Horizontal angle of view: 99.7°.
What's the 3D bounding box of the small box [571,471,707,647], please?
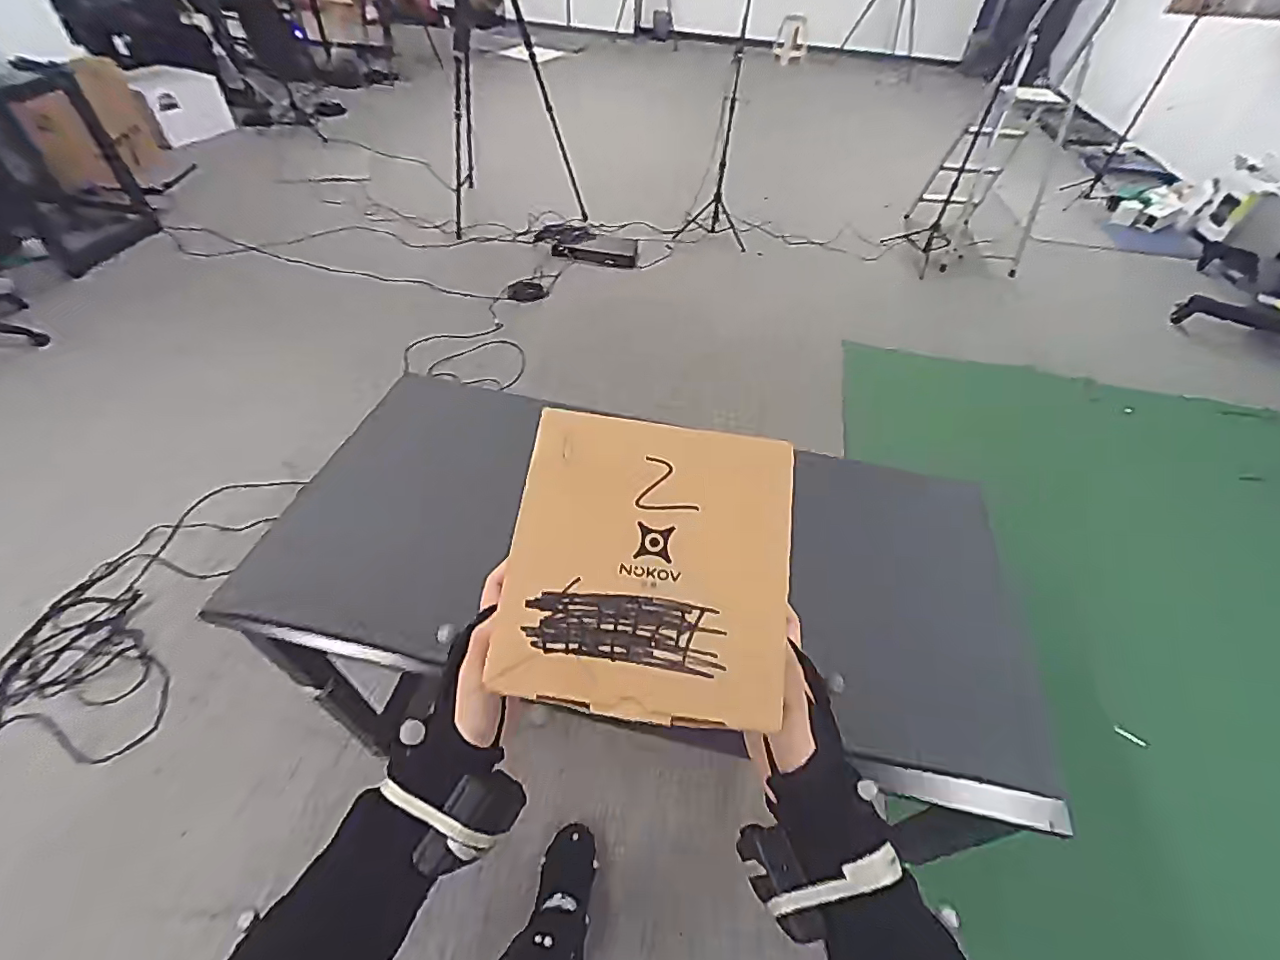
[{"bbox_3d":[-0.001,0.115,0.789,0.168,0.176,0.179,8,46,3],"label":"small box"}]
